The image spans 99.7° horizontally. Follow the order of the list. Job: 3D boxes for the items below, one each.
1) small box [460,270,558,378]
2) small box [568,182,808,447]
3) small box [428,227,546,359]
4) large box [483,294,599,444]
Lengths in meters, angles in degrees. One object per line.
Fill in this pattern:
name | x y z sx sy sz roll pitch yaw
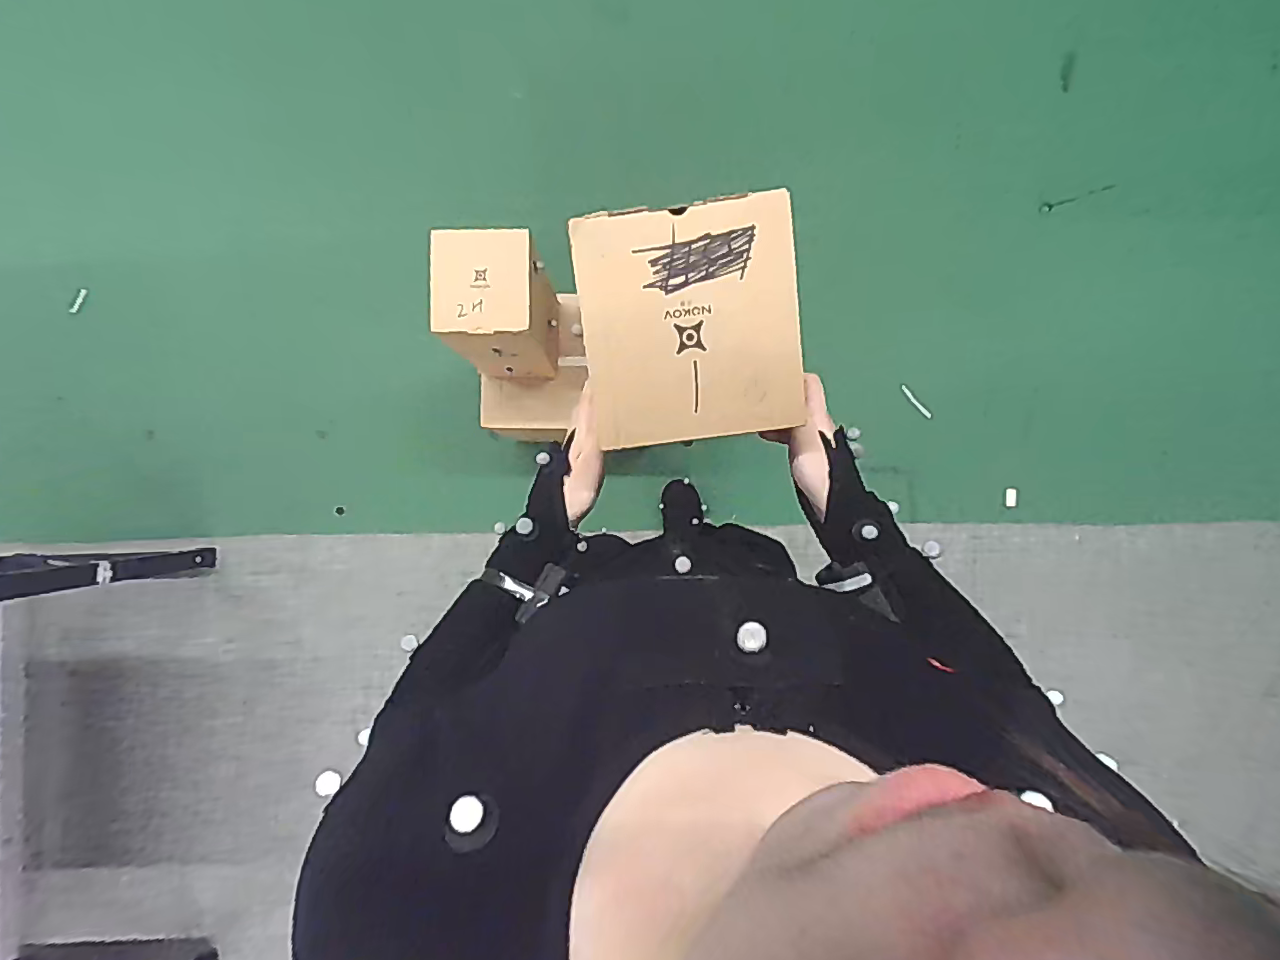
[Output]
small box | -0.266 -0.321 1.129 0.168 0.176 0.179 1 88 0
small box | 0.038 -0.131 0.477 0.168 0.176 0.179 -7 100 3
small box | -0.264 -0.325 0.964 0.168 0.176 0.179 0 88 0
large box | -0.158 -0.262 1.368 0.408 0.320 0.320 1 89 0
